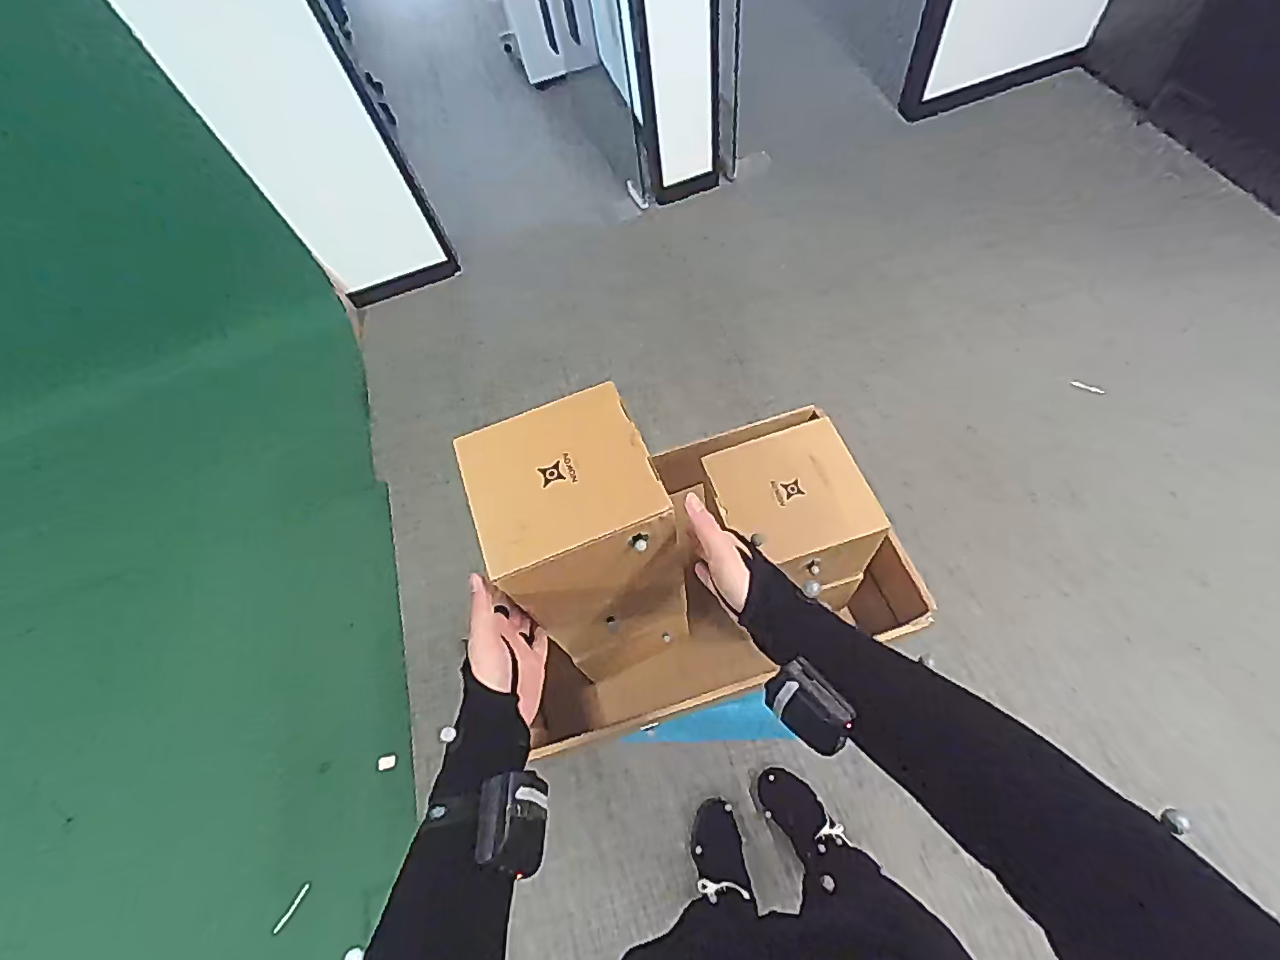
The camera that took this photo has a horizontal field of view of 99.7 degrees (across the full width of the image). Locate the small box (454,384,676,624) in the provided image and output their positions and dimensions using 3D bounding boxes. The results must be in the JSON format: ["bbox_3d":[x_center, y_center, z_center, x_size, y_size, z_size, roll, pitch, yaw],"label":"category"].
[{"bbox_3d":[-0.071,0.034,0.584,0.179,0.176,0.168,-22,60,-6],"label":"small box"}]

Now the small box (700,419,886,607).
[{"bbox_3d":[0.191,0.052,0.718,0.179,0.176,0.168,-18,60,0],"label":"small box"}]

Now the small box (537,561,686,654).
[{"bbox_3d":[-0.050,0.115,0.725,0.179,0.176,0.168,-22,61,-4],"label":"small box"}]
